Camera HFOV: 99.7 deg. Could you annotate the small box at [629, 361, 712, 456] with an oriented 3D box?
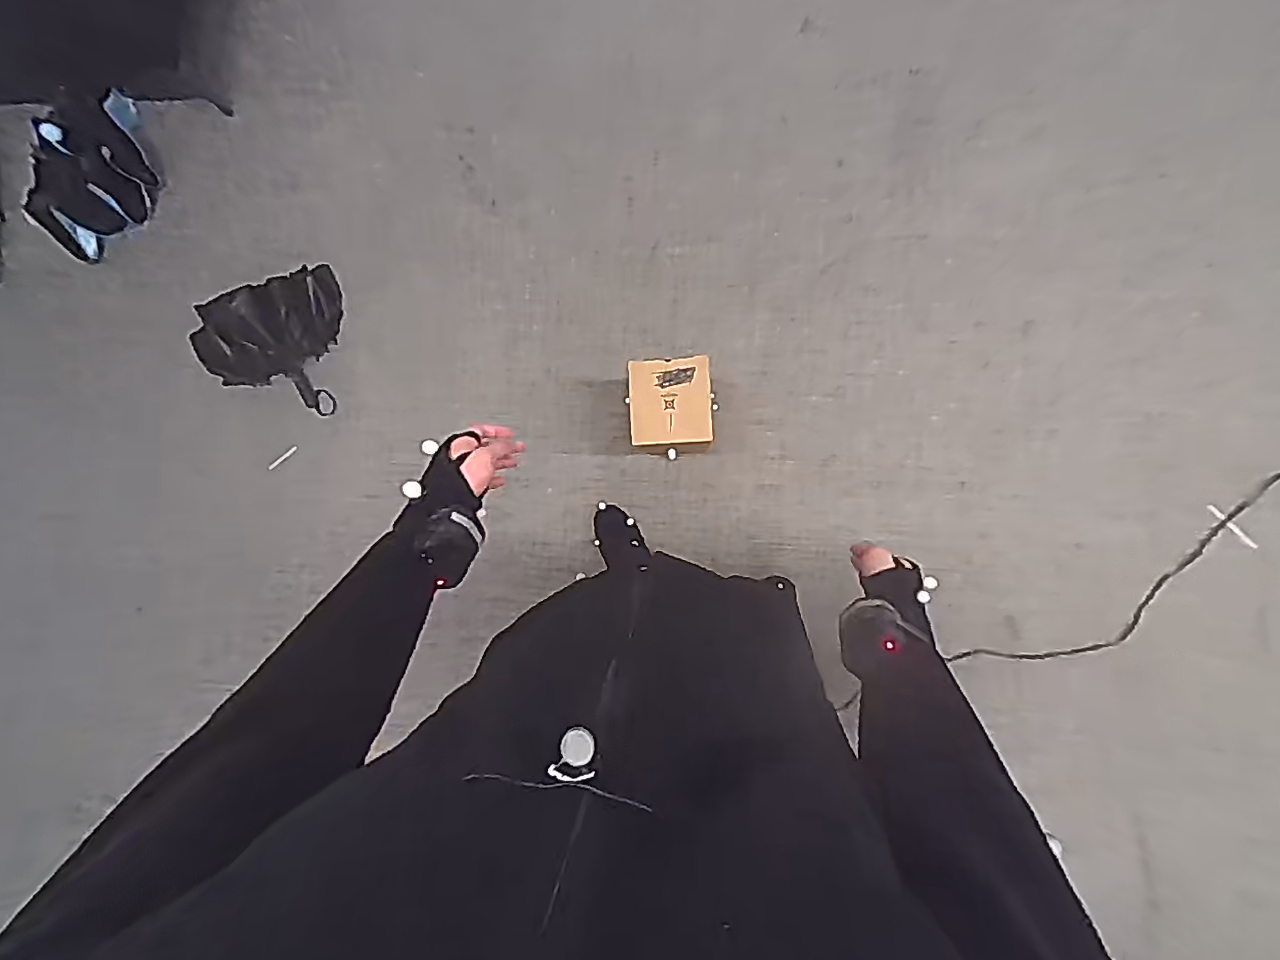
[{"bbox_3d":[0.067,-0.148,1.168,0.168,0.176,0.179,-2,89,6],"label":"small box"}]
